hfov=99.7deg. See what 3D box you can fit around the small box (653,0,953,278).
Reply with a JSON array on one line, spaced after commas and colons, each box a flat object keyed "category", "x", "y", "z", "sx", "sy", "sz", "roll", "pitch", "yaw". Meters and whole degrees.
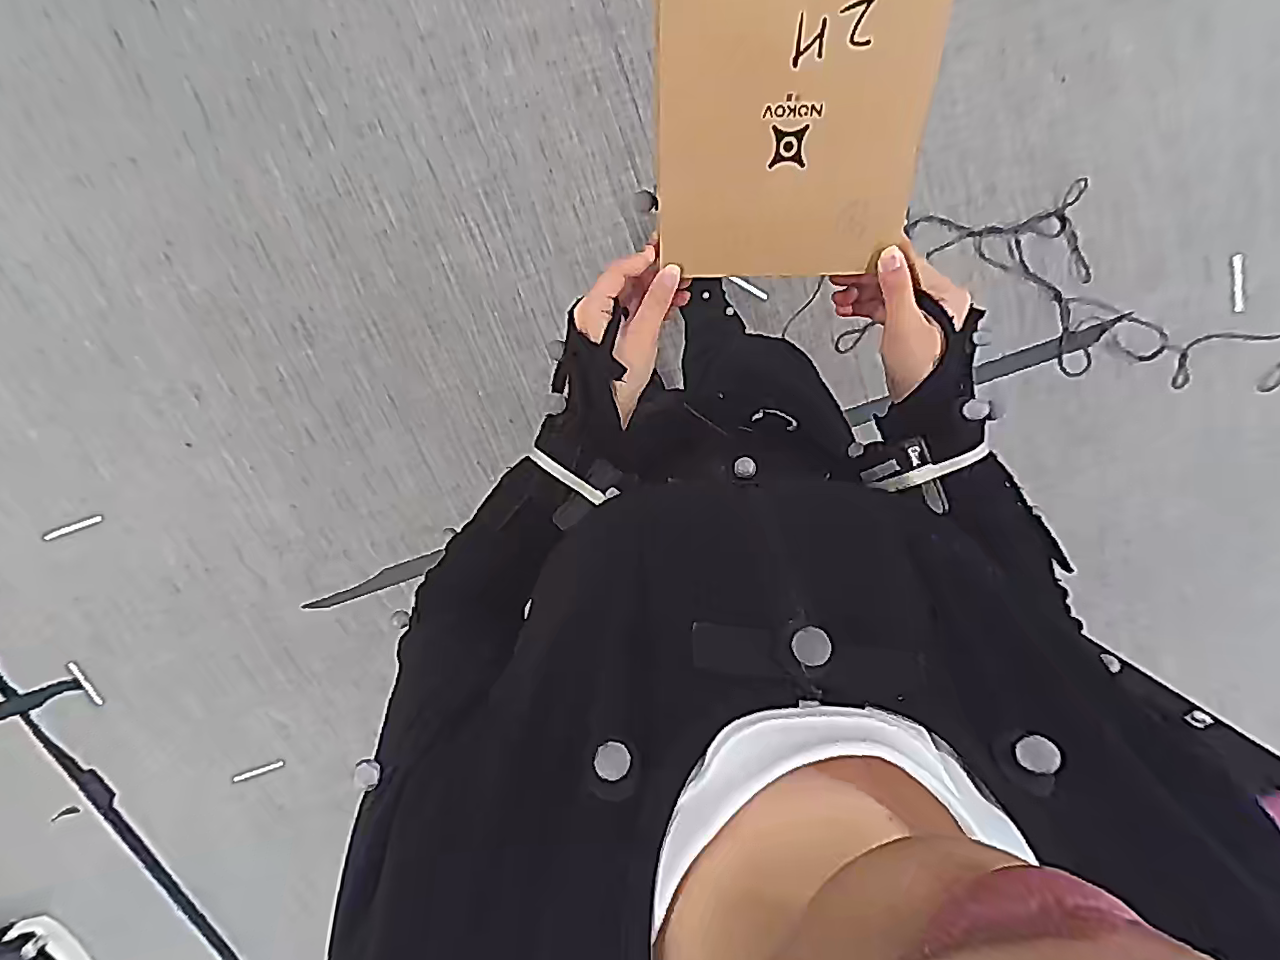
[{"category": "small box", "x": 0.095, "y": -0.262, "z": 0.406, "sx": 0.168, "sy": 0.176, "sz": 0.179, "roll": -1, "pitch": 123, "yaw": 0}]
